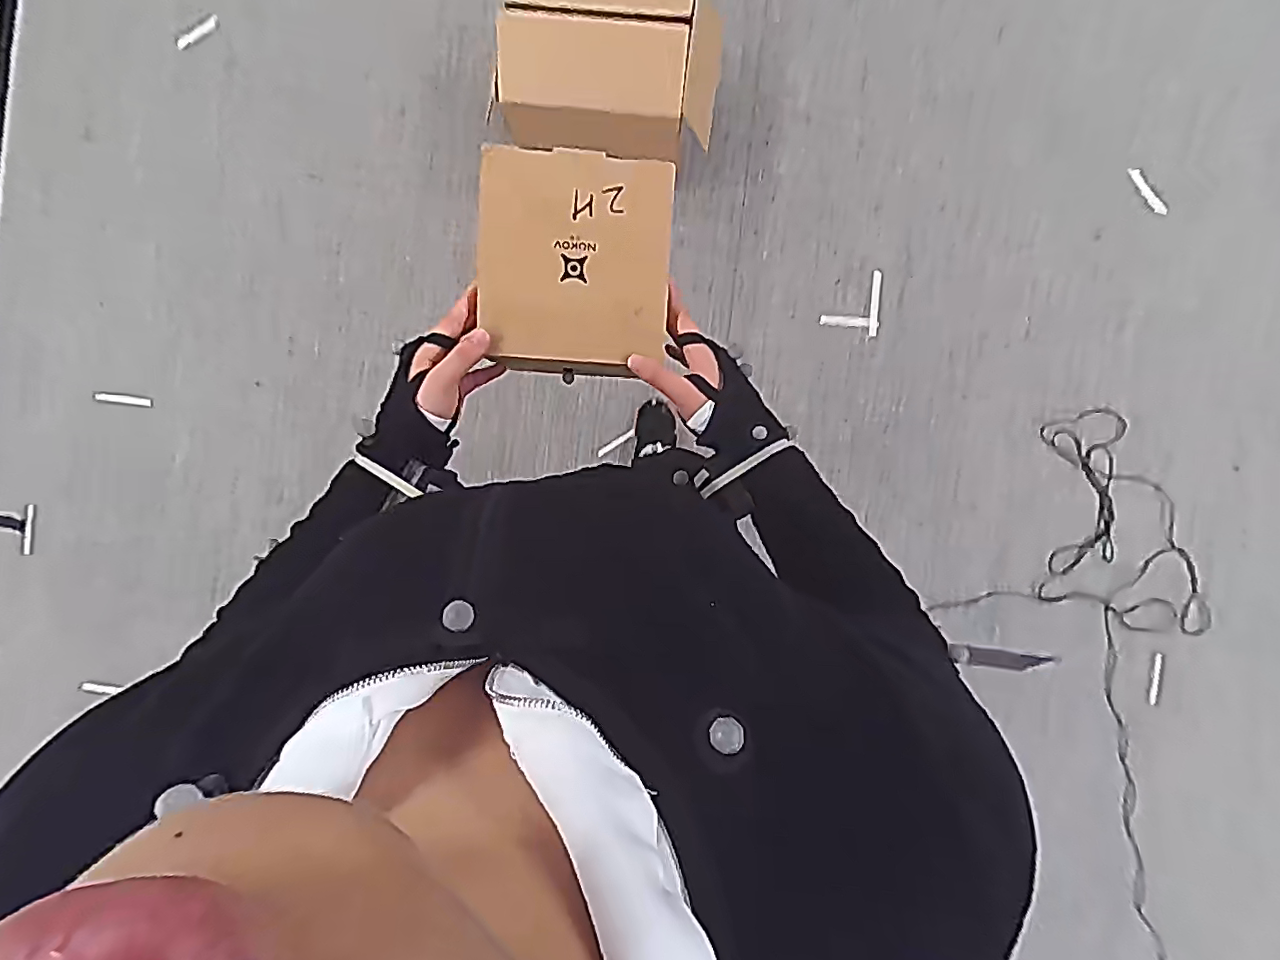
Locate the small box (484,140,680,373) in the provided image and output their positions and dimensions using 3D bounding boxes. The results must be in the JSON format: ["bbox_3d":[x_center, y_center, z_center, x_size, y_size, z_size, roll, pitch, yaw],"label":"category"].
[{"bbox_3d":[-0.058,-0.207,0.554,0.168,0.176,0.179,3,96,-6],"label":"small box"}]
